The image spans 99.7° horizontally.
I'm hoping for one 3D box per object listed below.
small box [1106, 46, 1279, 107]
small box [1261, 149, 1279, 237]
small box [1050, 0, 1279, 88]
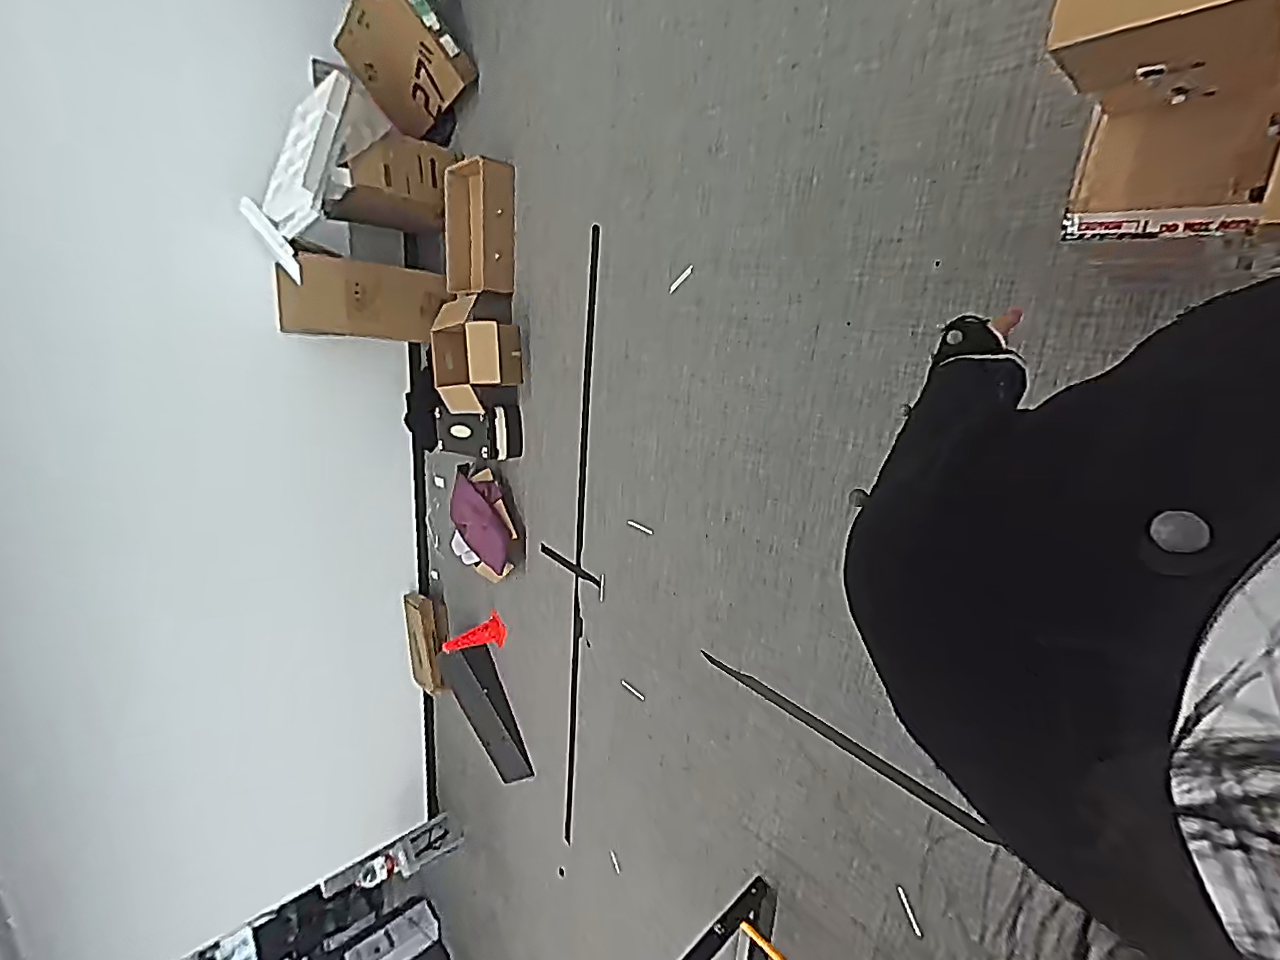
[{"bbox_3d":[0.647,-0.562,0.613,0.168,0.176,0.179,21,116,45],"label":"small box"},{"bbox_3d":[0.762,-0.352,0.537,0.168,0.176,0.179,18,114,45],"label":"small box"},{"bbox_3d":[0.528,-0.513,0.511,0.168,0.176,0.179,21,116,46],"label":"small box"}]
